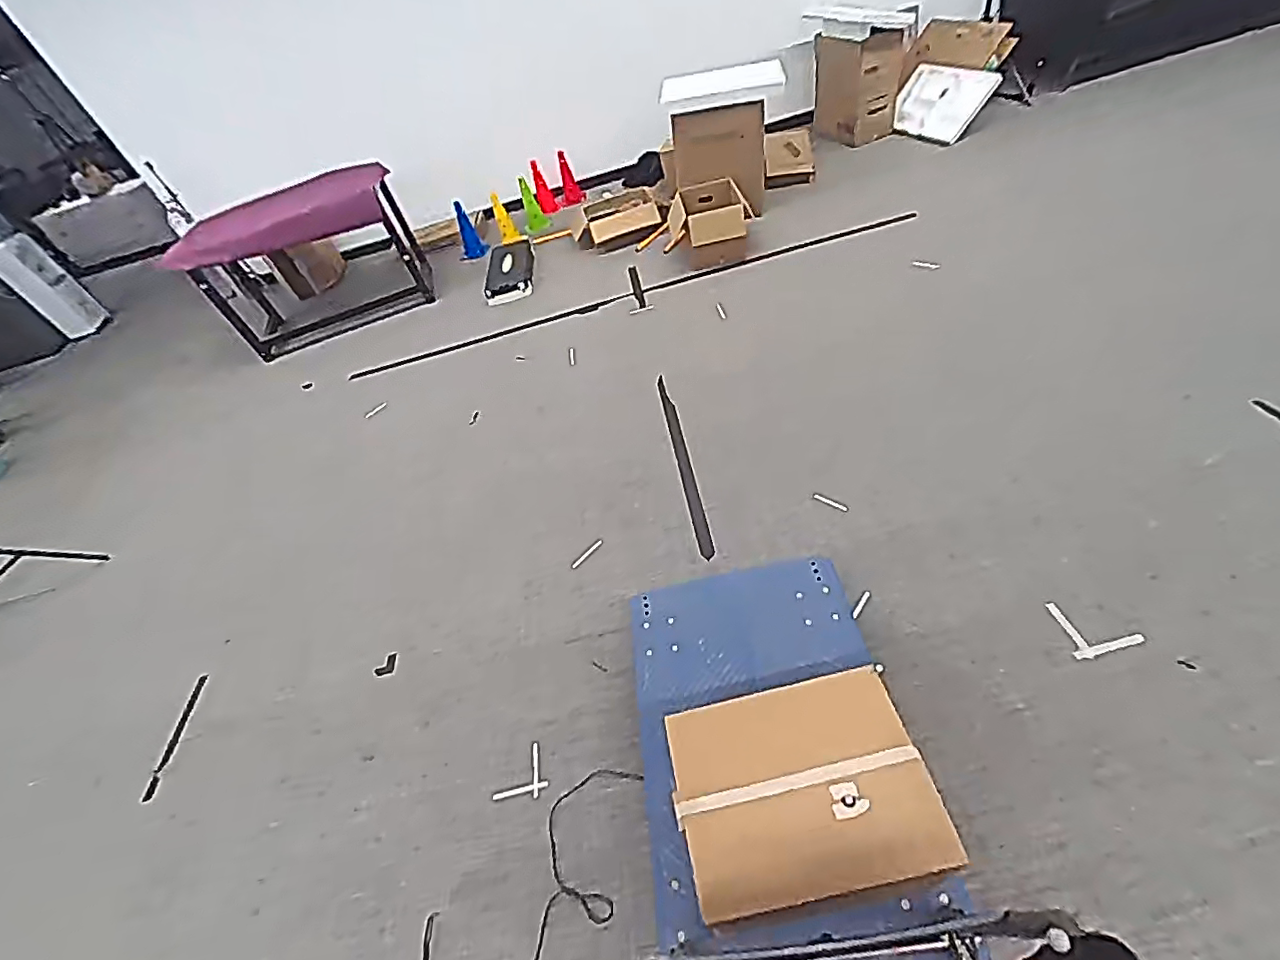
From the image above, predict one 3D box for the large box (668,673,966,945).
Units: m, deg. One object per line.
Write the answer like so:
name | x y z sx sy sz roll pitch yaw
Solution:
large box | 0.295 0.616 1.008 0.408 0.320 0.320 -15 46 1
